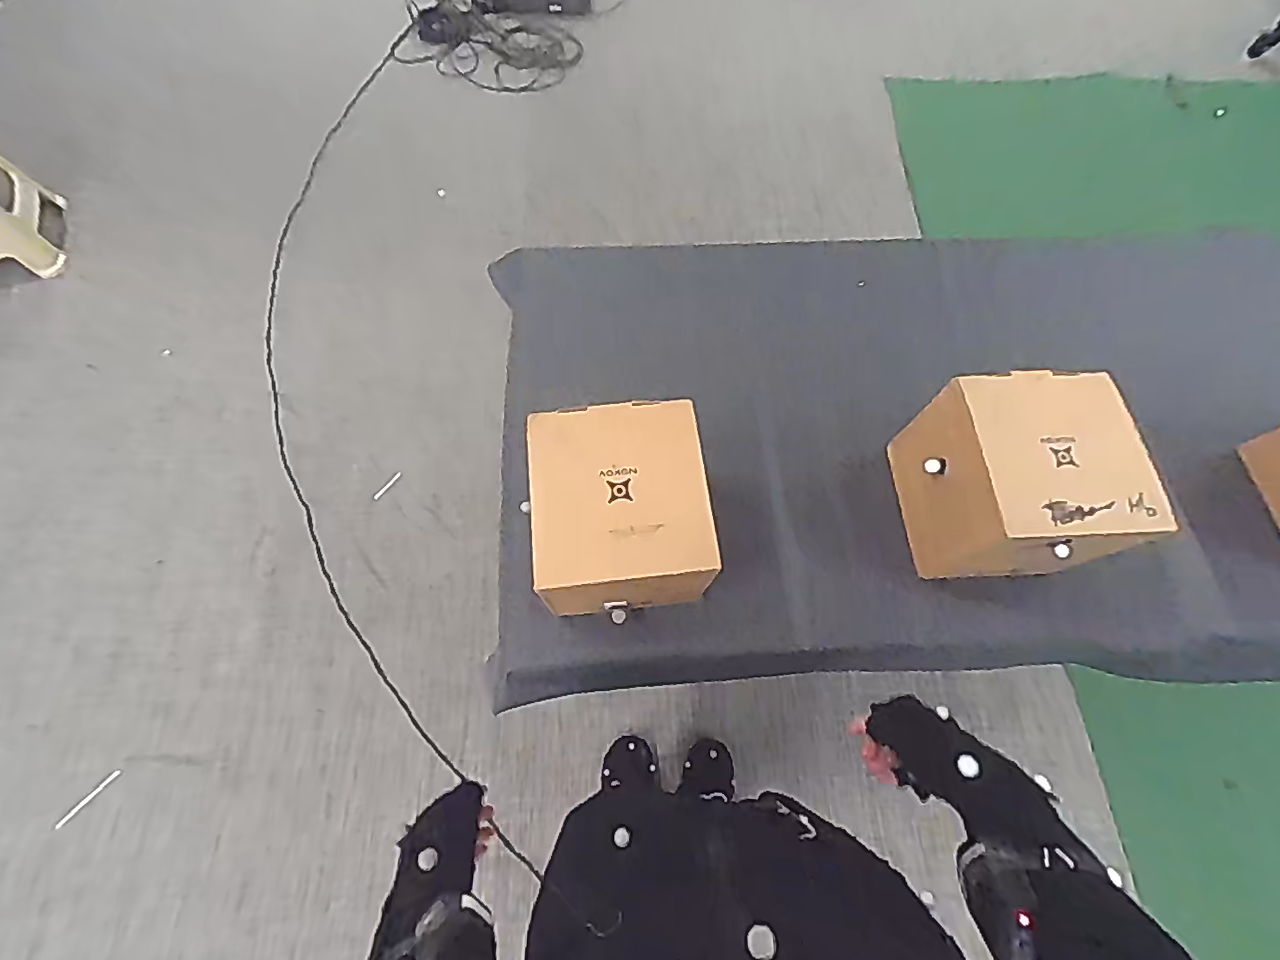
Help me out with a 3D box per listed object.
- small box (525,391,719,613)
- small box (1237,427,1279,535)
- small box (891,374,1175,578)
[{"bbox_3d":[-0.020,0.030,0.556,0.168,0.176,0.179,-4,68,-1],"label":"small box"},{"bbox_3d":[0.866,0.001,0.609,0.168,0.176,0.179,-2,66,-2],"label":"small box"},{"bbox_3d":[0.405,0.002,0.600,0.168,0.176,0.179,-2,67,-2],"label":"small box"}]
